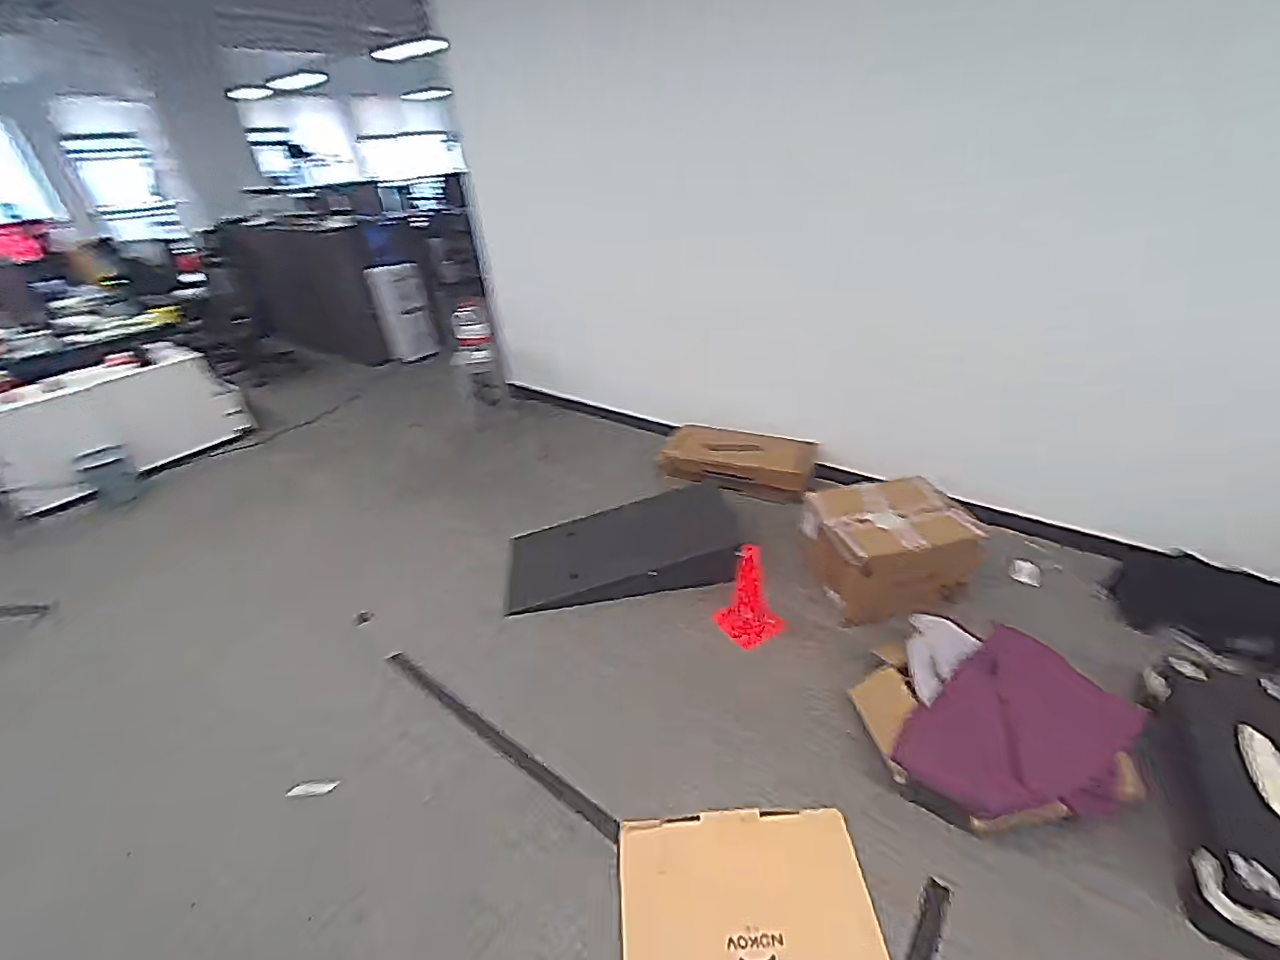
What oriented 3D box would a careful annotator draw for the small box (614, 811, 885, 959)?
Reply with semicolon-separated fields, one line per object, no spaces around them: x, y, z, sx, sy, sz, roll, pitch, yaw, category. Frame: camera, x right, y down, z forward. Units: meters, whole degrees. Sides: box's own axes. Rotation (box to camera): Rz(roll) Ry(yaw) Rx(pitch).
0.067;0.362;0.374;0.168;0.176;0.179;-2;39;-5;small box
